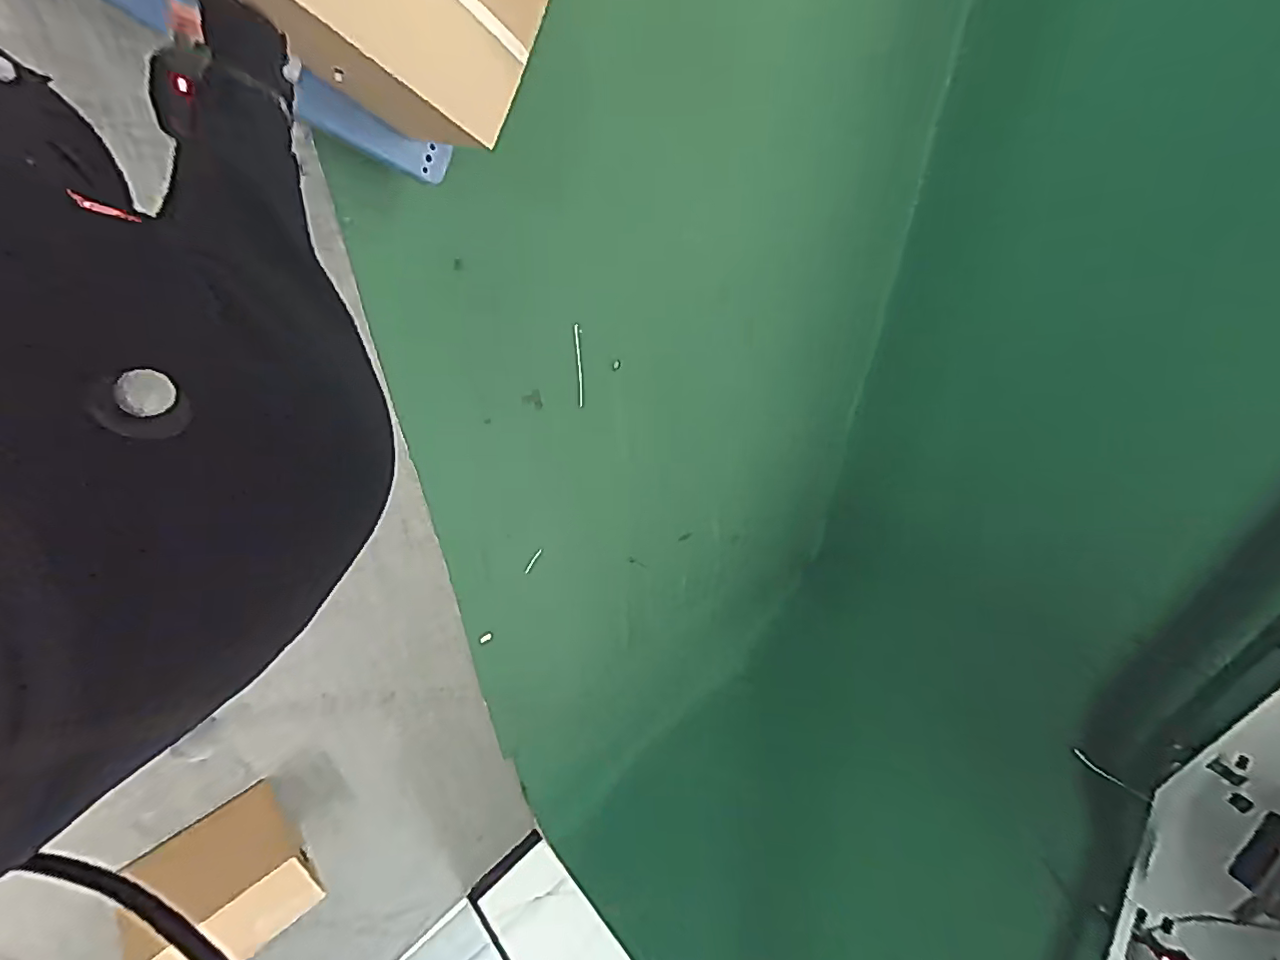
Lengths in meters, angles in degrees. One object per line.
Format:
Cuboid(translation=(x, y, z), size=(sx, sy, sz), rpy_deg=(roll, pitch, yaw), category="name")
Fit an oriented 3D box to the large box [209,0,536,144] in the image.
Cuboid(translation=(-0.430, -0.801, 0.840), size=(0.408, 0.320, 0.320), rpy_deg=(14, 104, -52), category="large box")
